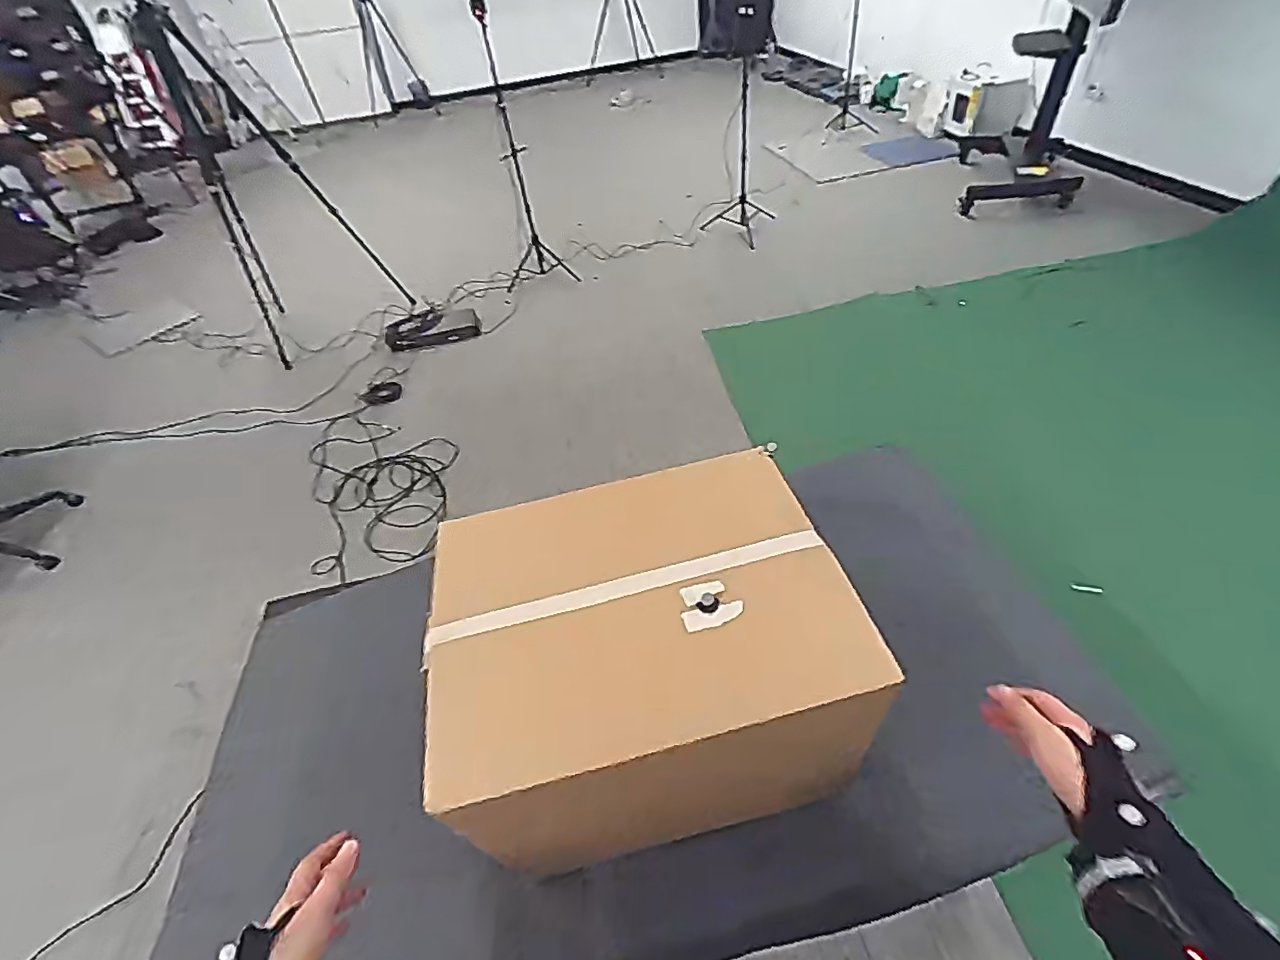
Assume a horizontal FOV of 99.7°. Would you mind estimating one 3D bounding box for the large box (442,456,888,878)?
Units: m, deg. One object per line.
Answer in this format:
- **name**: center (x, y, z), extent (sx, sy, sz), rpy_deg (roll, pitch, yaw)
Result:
- **large box**: center (0.009, 0.222, 0.662), extent (0.408, 0.320, 0.320), rpy_deg (-14, 46, -5)
